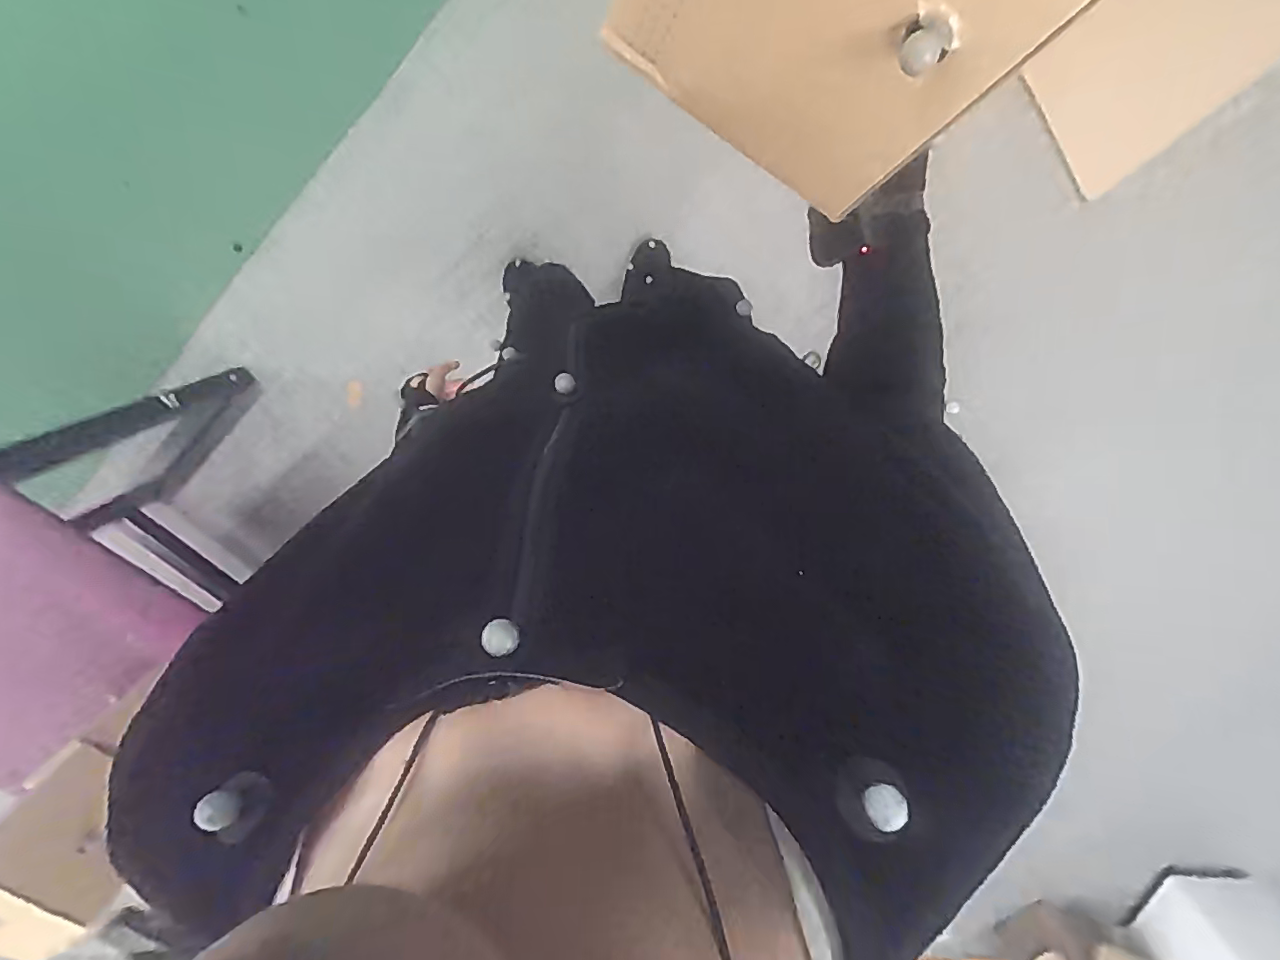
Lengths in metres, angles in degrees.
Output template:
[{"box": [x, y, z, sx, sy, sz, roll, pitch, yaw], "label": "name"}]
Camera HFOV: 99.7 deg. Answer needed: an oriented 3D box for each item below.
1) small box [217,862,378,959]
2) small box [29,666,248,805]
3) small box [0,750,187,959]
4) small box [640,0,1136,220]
[{"box": [-0.560, 0.763, 0.866, 0.179, 0.176, 0.168, -41, 109, 18], "label": "small box"}, {"box": [-0.816, 0.449, 0.902, 0.168, 0.176, 0.179, -35, 110, 16], "label": "small box"}, {"box": [-0.800, 0.518, 0.753, 0.168, 0.176, 0.179, -36, 111, 16], "label": "small box"}, {"box": [0.115, -0.272, 0.245, 0.176, 0.179, 0.168, 27, 71, -17], "label": "small box"}]
